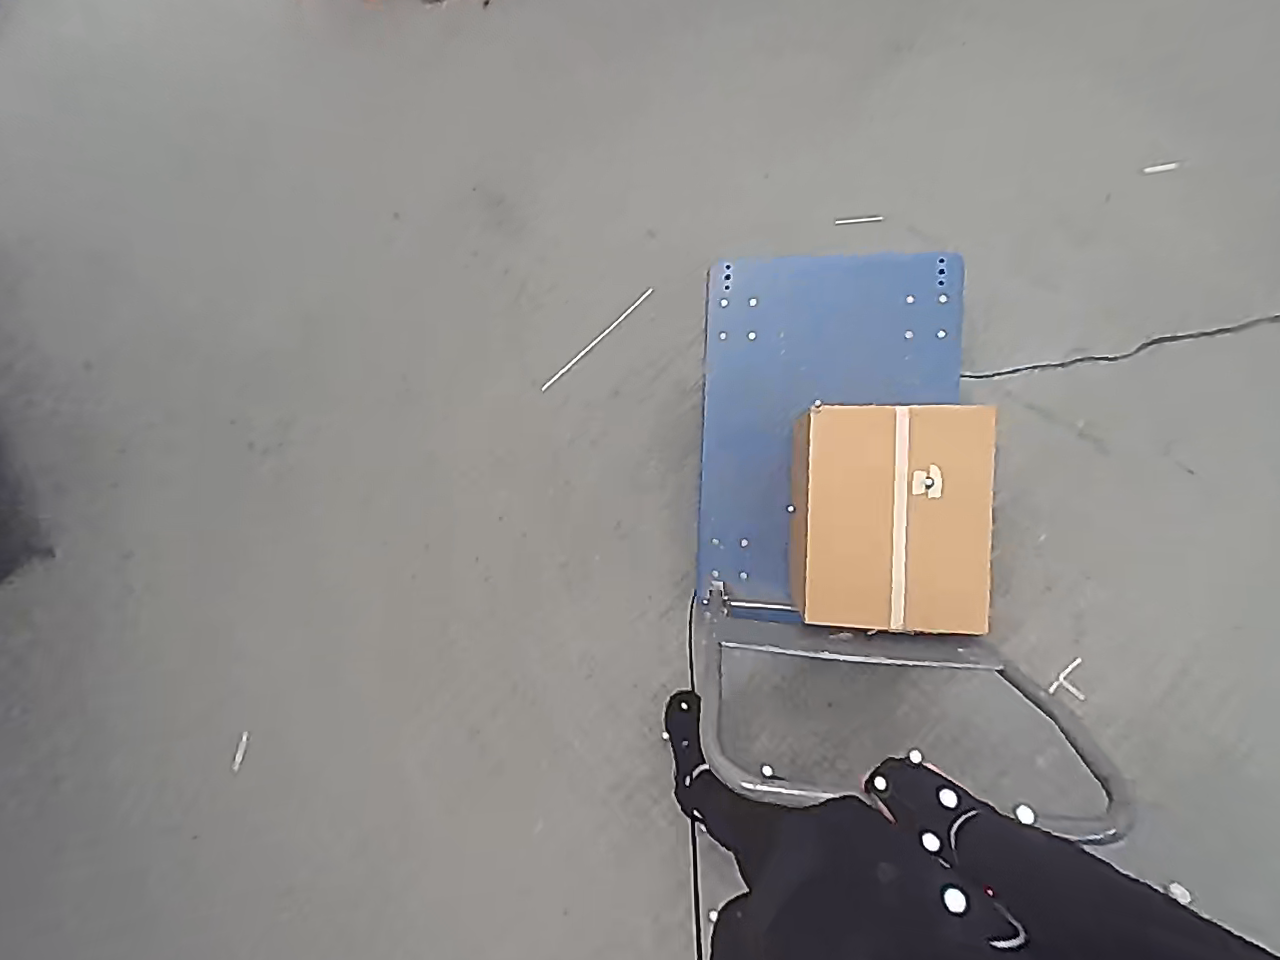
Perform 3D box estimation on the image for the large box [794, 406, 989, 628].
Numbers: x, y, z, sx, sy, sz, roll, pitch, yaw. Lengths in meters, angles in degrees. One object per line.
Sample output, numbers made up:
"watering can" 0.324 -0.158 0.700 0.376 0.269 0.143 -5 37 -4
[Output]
"large box" 0.492 0.067 1.128 0.320 0.320 0.408 1 91 9
